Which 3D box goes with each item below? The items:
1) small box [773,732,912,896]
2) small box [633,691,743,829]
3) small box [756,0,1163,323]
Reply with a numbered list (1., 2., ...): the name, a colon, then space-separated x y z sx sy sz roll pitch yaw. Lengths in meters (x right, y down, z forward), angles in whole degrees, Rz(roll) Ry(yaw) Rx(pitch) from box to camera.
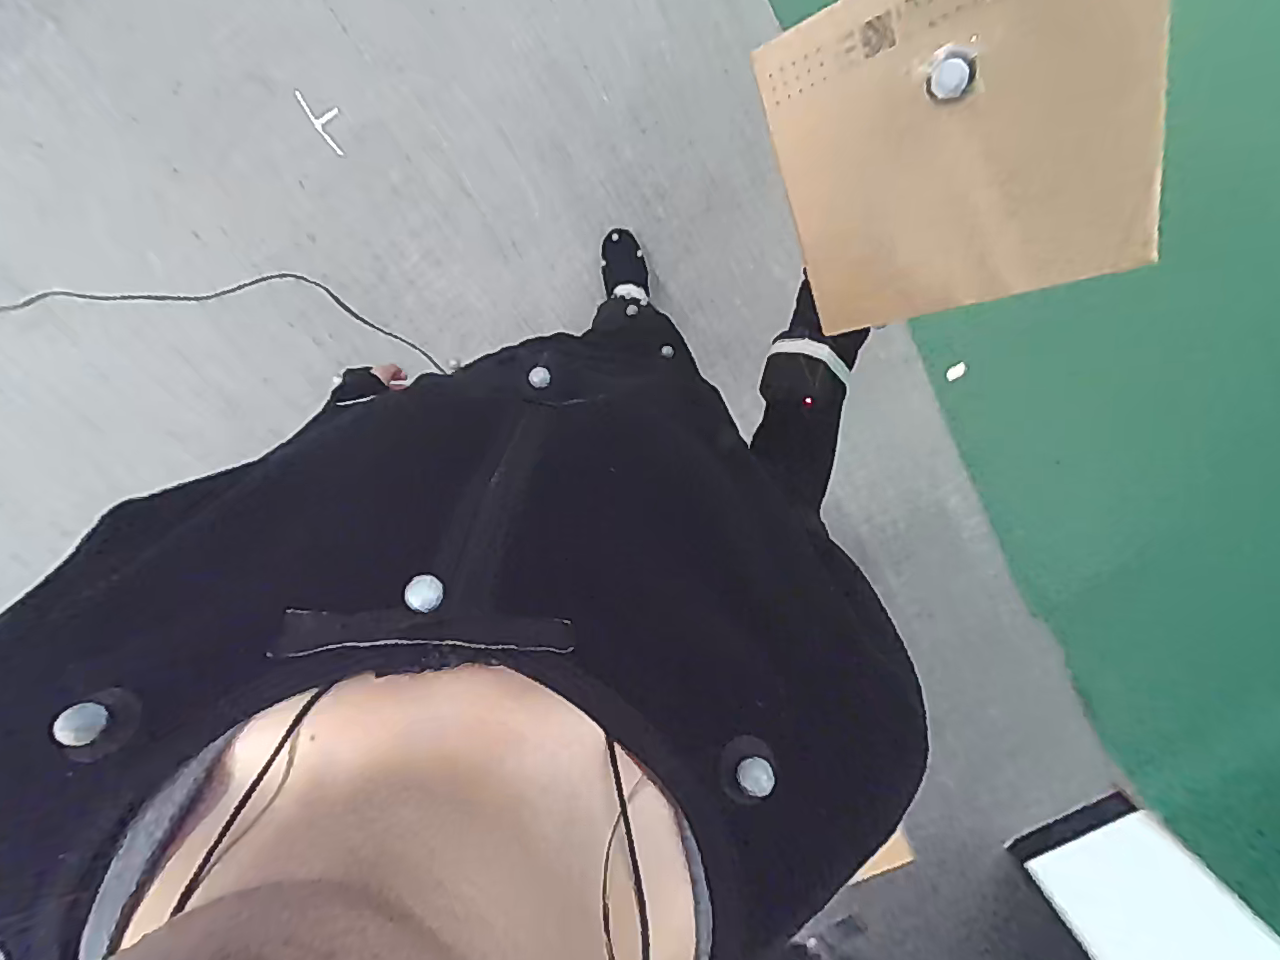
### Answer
1. small box: 0.372 0.619 1.015 0.168 0.176 0.179 -25 107 4
2. small box: 0.095 0.592 1.163 0.179 0.176 0.168 -27 105 6
3. small box: 0.191 -0.226 0.329 0.168 0.179 0.176 -6 124 37
